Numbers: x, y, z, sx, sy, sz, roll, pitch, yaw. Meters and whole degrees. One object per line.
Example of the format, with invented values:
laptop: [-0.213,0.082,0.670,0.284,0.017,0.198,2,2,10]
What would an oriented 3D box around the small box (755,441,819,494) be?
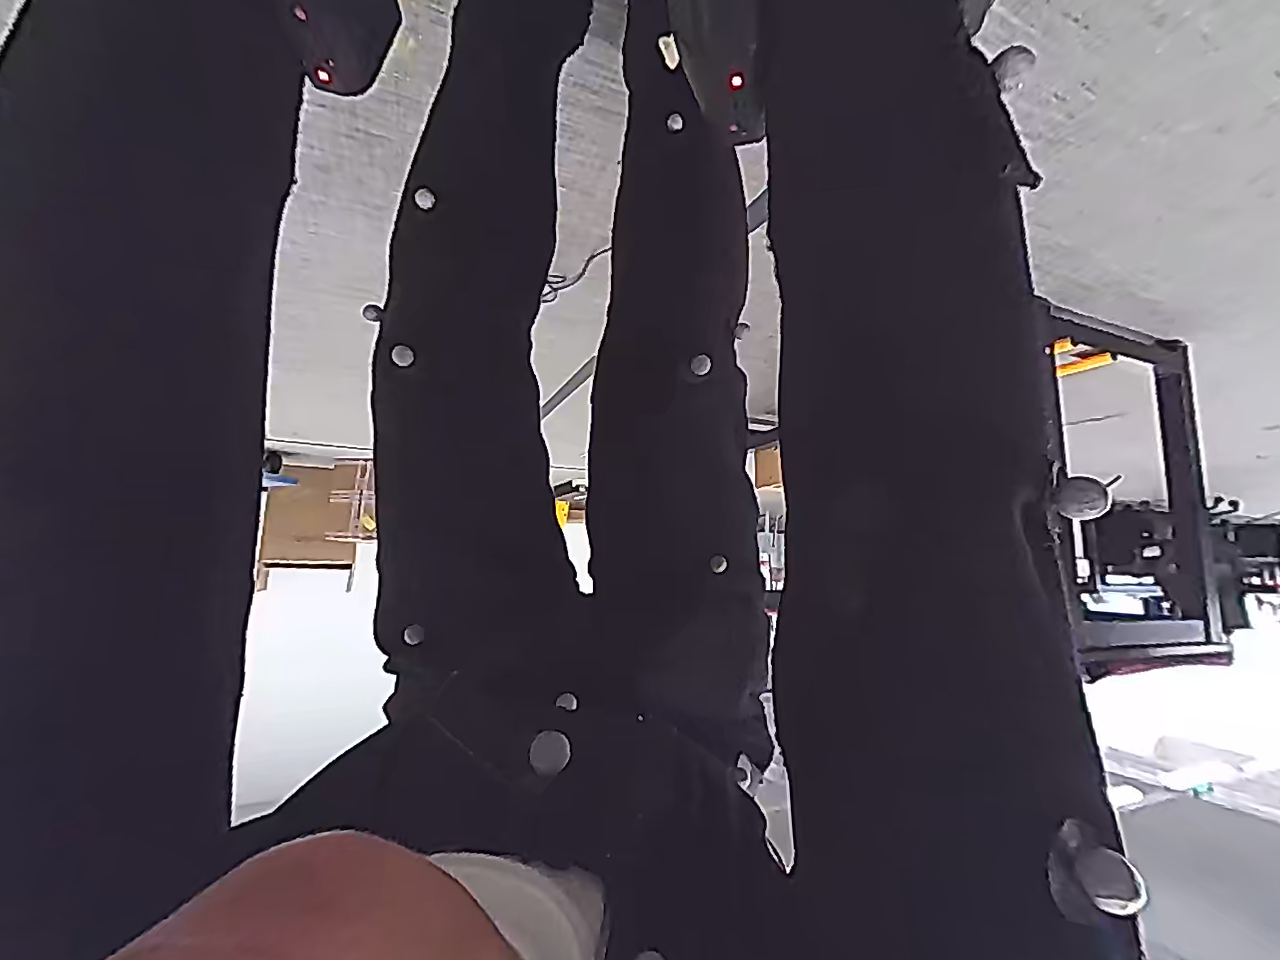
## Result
small box: [0.550,-0.046,2.044,0.179,0.176,0.168,5,170,-24]
